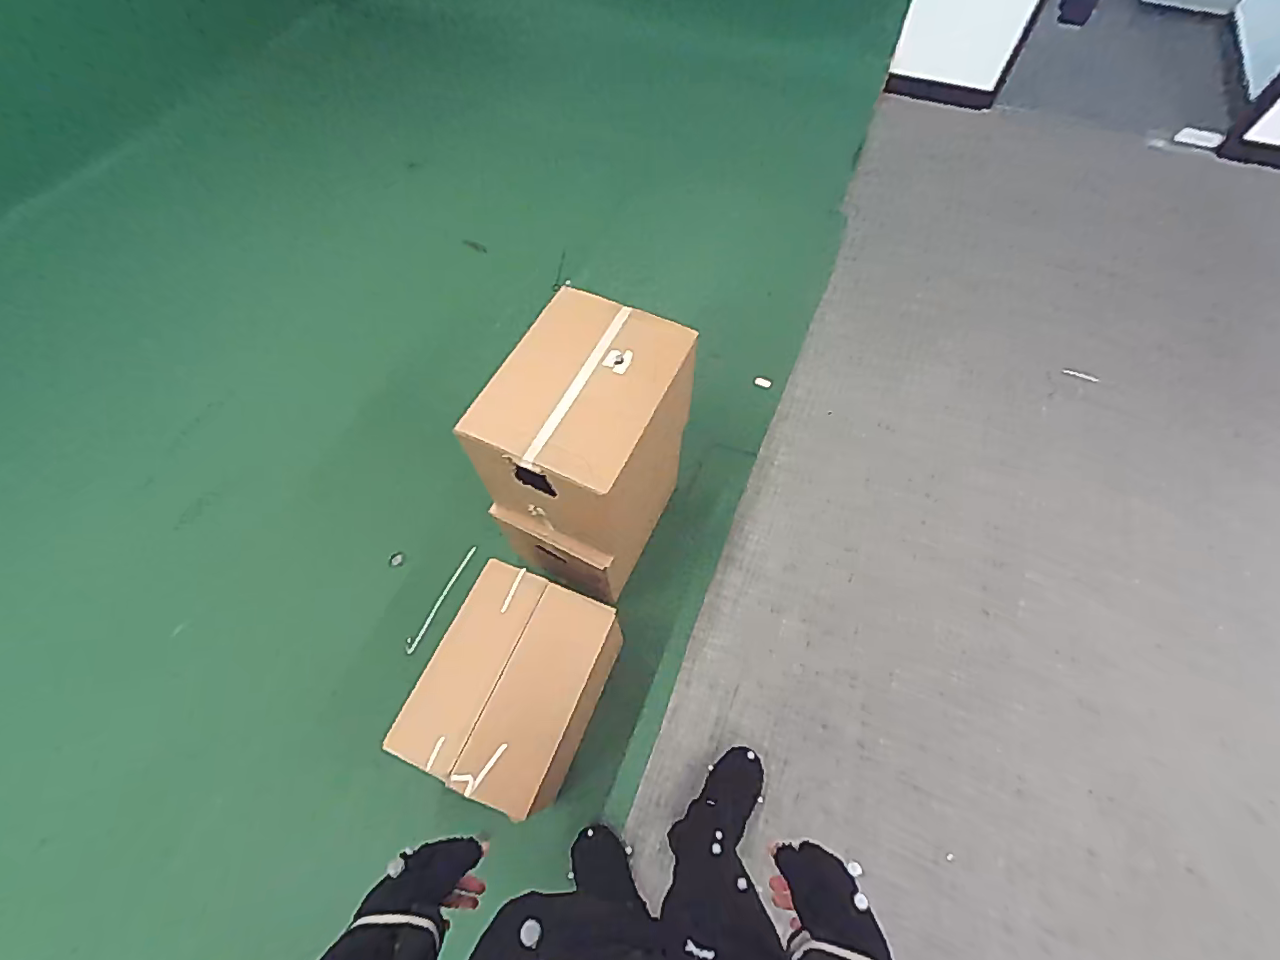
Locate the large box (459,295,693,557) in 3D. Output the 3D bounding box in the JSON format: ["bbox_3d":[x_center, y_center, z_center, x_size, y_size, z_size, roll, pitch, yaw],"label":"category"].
[{"bbox_3d":[-0.111,-0.108,1.157,0.320,0.320,0.408,23,63,11],"label":"large box"}]
